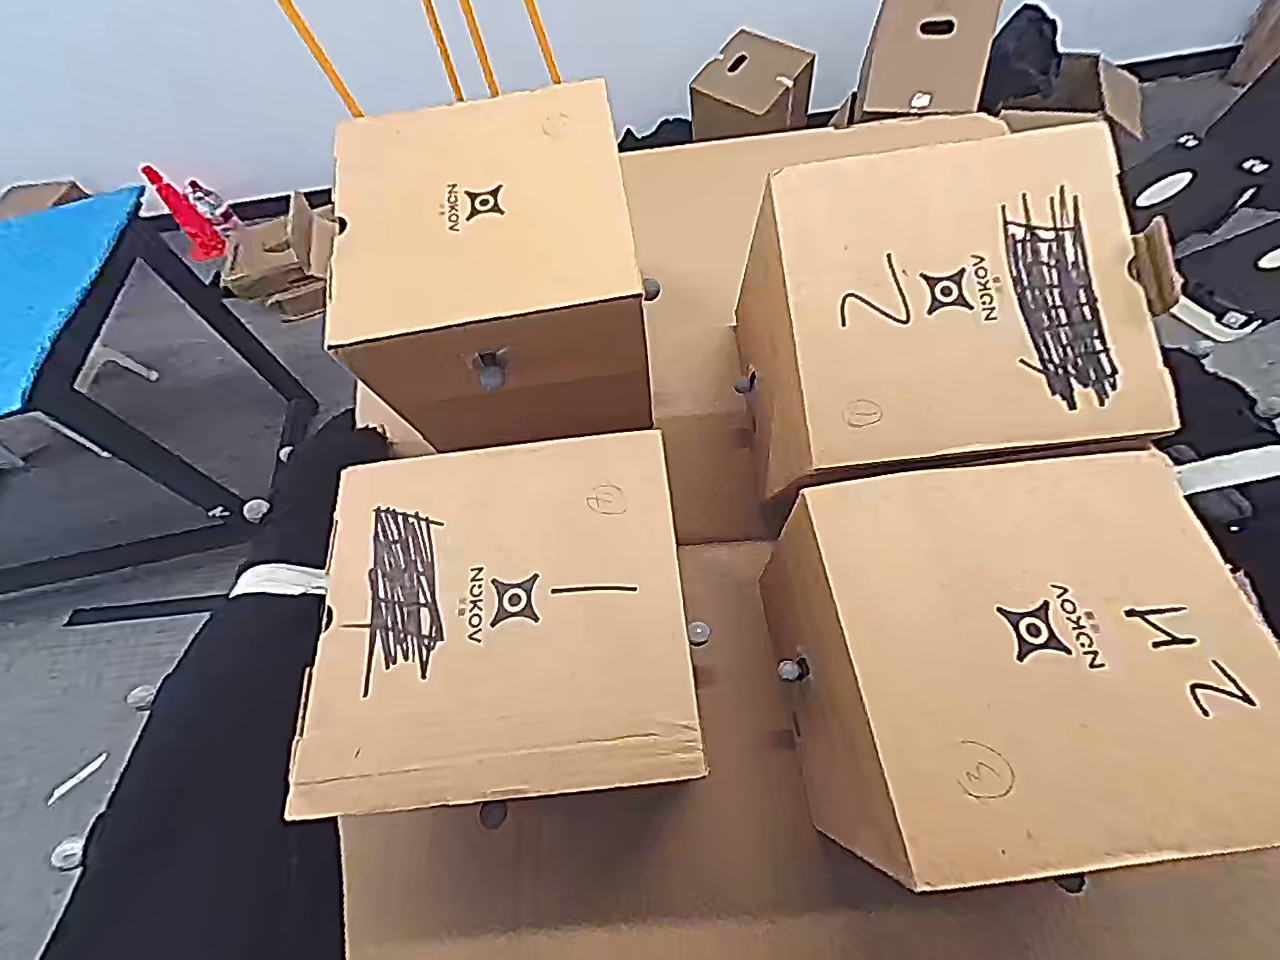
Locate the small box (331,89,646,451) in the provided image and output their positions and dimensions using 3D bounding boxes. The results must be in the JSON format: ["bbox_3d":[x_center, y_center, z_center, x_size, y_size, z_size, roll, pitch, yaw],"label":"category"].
[{"bbox_3d":[-0.091,-0.135,0.398,0.179,0.176,0.168,-10,71,2],"label":"small box"}]
